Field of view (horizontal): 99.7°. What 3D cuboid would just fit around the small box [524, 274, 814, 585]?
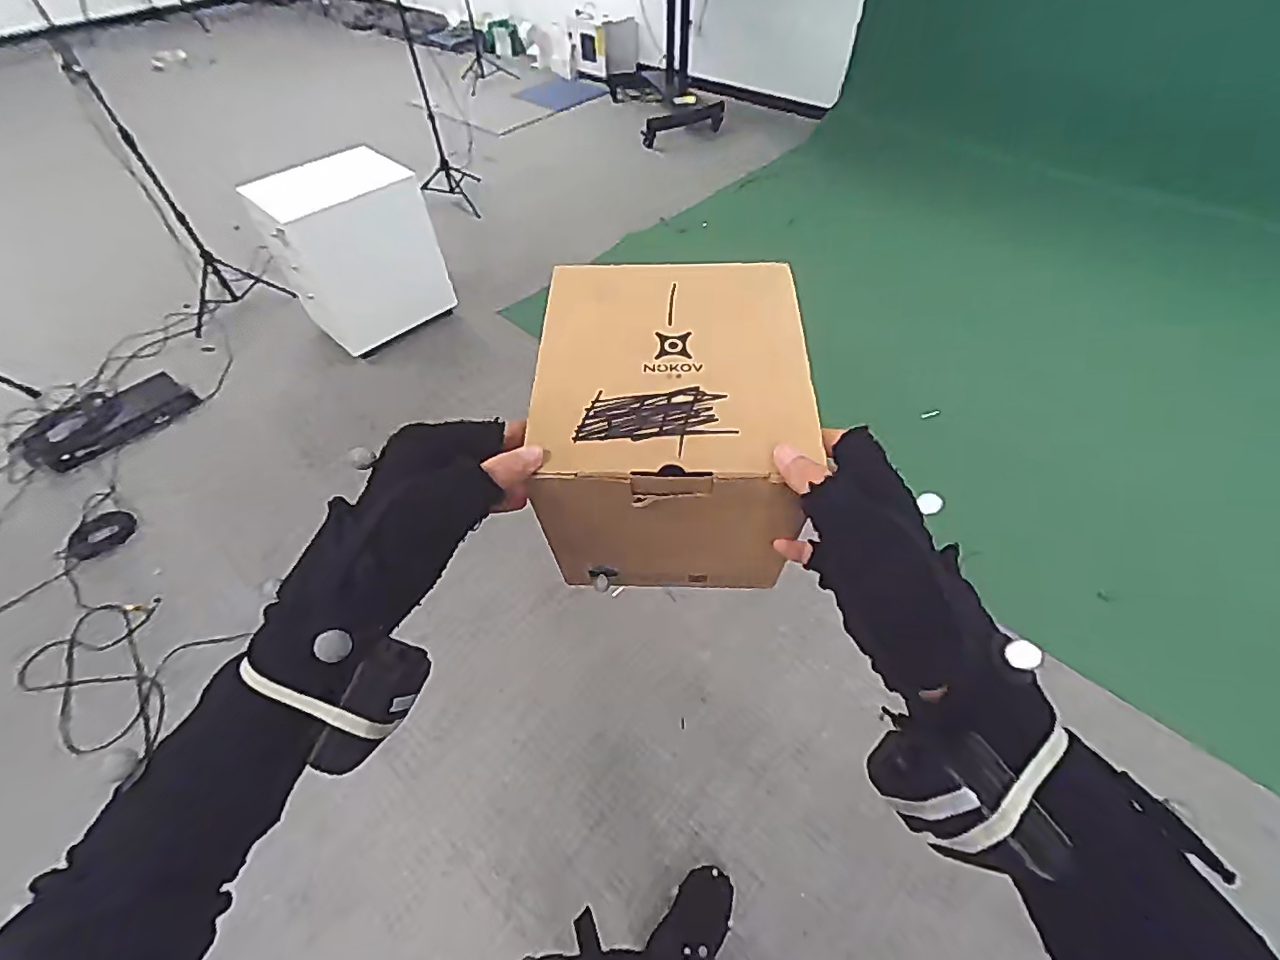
[{"bbox_3d":[0.023,-0.029,0.409,0.168,0.176,0.179,1,58,3],"label":"small box"}]
